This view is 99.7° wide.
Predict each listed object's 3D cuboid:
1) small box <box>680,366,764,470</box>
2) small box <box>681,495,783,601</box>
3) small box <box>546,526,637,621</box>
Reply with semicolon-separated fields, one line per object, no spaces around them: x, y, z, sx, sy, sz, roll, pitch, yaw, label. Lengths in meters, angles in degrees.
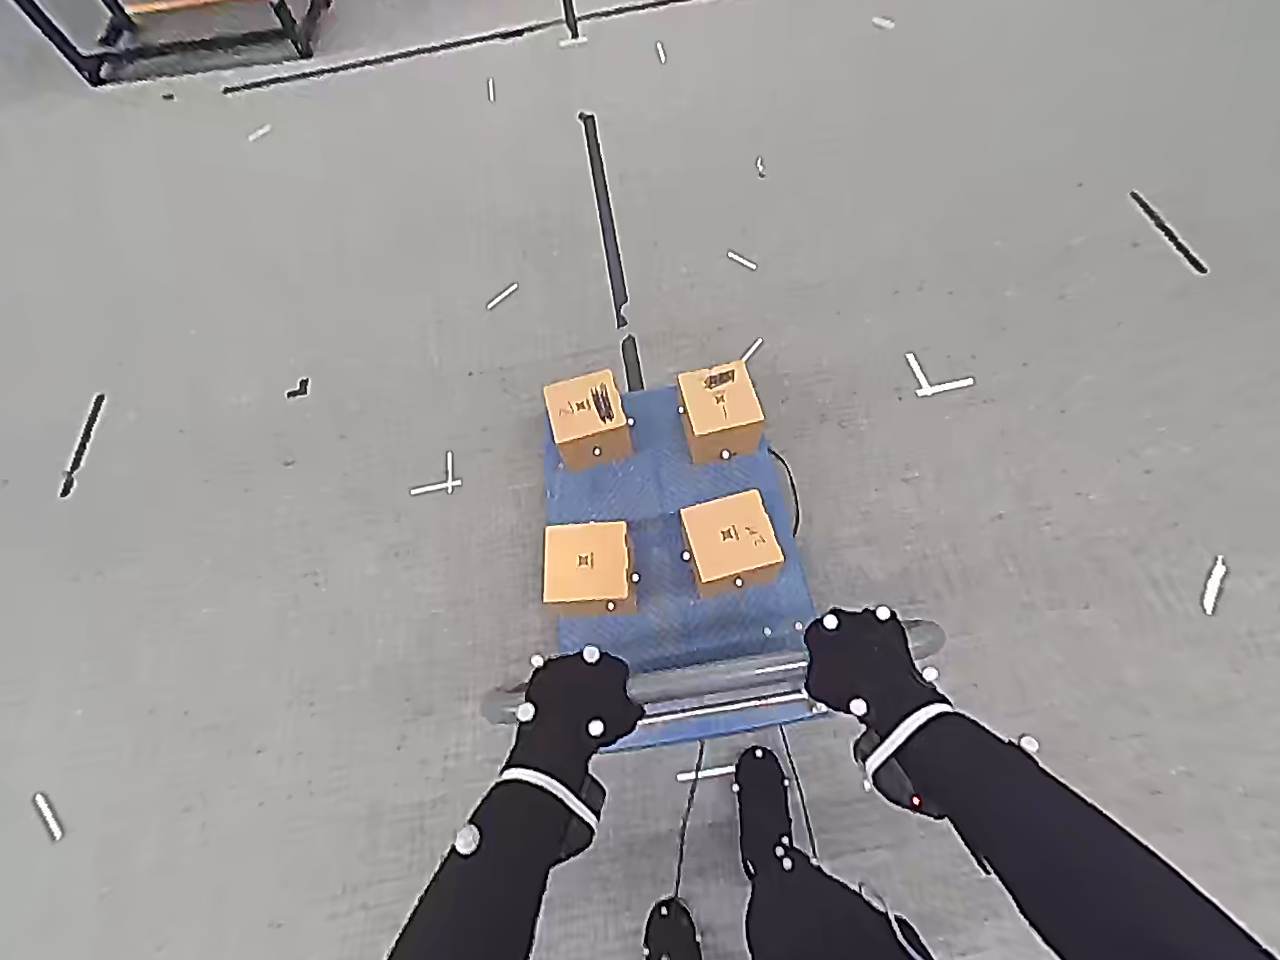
0.195;-0.150;1.344;0.168;0.176;0.179;-13;65;-1;small box
0.199;0.157;1.200;0.179;0.176;0.168;-15;65;-1;small box
-0.103;0.213;1.205;0.179;0.176;0.168;-4;64;2;small box
